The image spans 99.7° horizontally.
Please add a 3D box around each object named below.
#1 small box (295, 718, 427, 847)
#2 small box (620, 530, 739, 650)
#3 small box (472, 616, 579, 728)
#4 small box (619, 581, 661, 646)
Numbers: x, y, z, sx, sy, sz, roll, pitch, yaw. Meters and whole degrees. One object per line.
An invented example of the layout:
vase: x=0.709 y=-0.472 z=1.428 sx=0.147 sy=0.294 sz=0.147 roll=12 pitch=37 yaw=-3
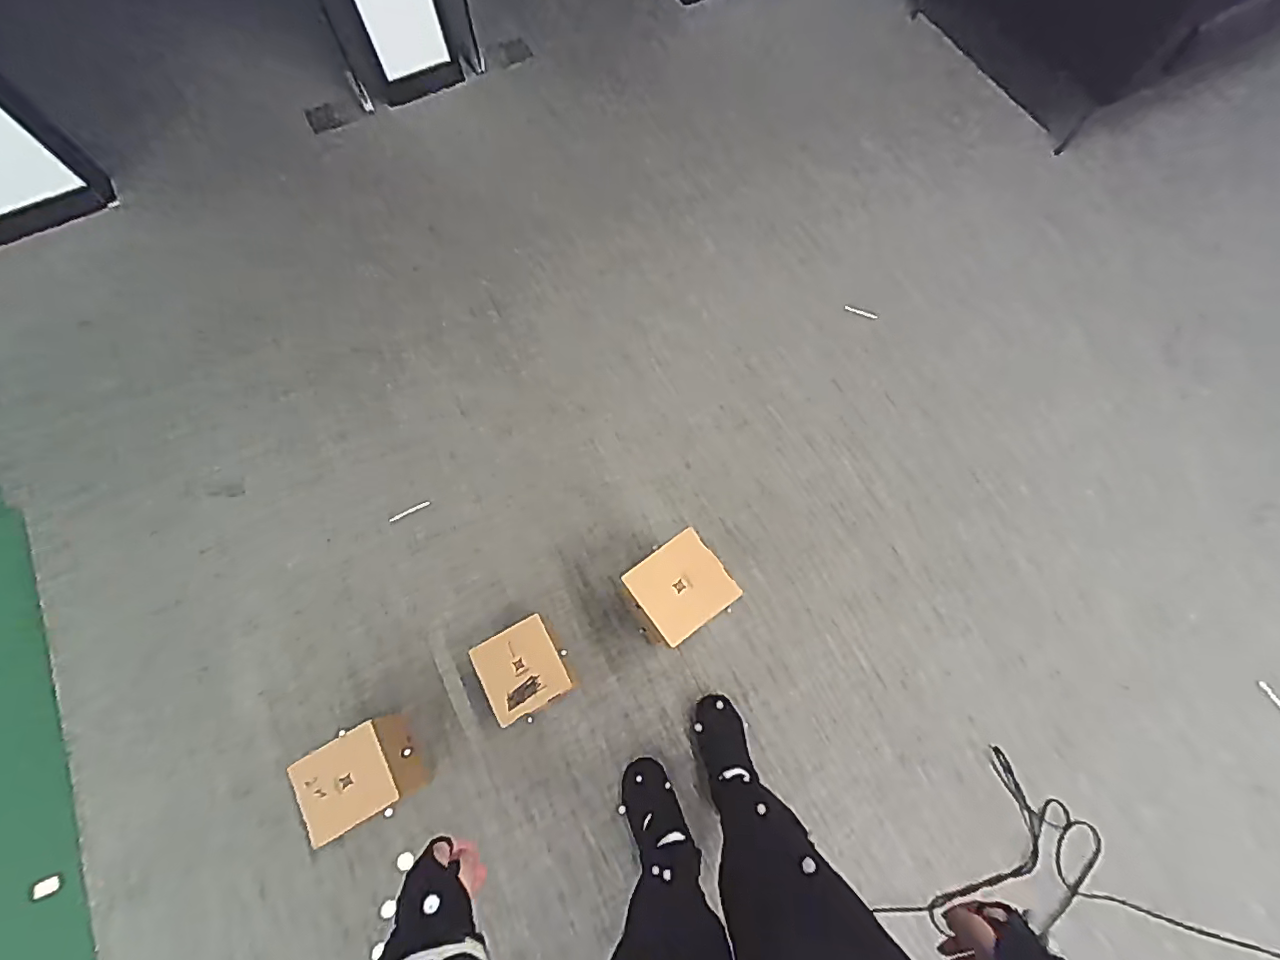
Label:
small box: x=-0.576 y=0.625 z=1.146 sx=0.179 sy=0.176 sz=0.168 roll=-28 pitch=72 yaw=-10
small box: x=0.078 y=0.234 z=1.114 sx=0.179 sy=0.176 sz=0.168 roll=-35 pitch=75 yaw=-12
small box: x=-0.249 y=0.428 z=1.216 sx=0.168 sy=0.176 sz=0.179 roll=-28 pitch=72 yaw=-10
small box: x=0.067 y=0.277 z=1.271 sx=0.179 sy=0.176 sz=0.168 roll=-30 pitch=74 yaw=-11
